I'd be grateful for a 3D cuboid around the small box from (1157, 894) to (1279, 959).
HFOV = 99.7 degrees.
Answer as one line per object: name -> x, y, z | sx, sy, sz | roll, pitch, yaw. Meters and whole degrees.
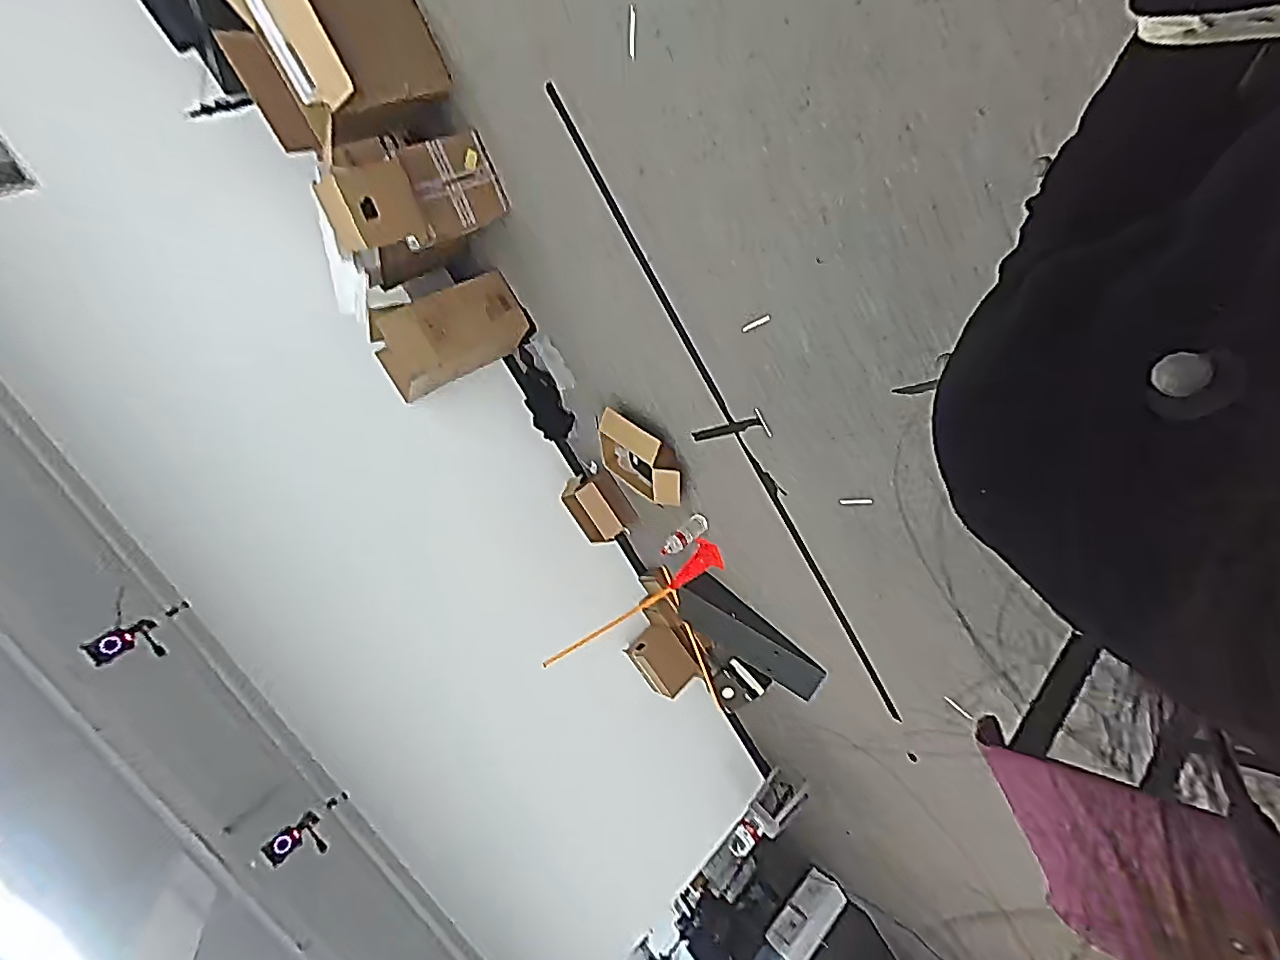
small box -> 1.029, 0.879, 0.925 | 0.168, 0.176, 0.179 | 1, 123, 59
